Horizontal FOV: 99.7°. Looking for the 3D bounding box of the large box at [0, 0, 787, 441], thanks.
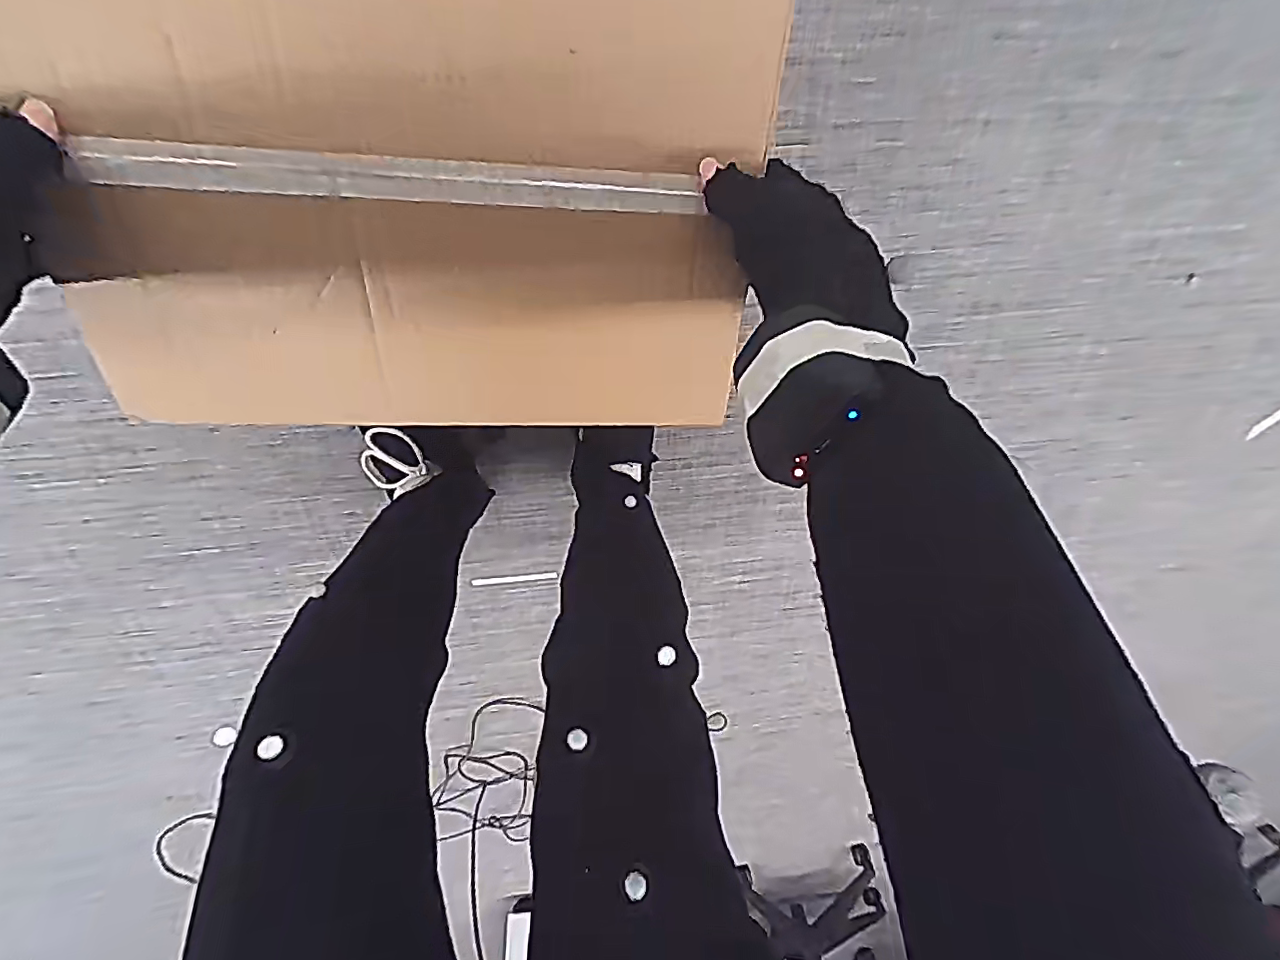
[{"bbox_3d":[-0.143,-0.241,0.430,0.408,0.320,0.320,-1,123,-9],"label":"large box"}]
